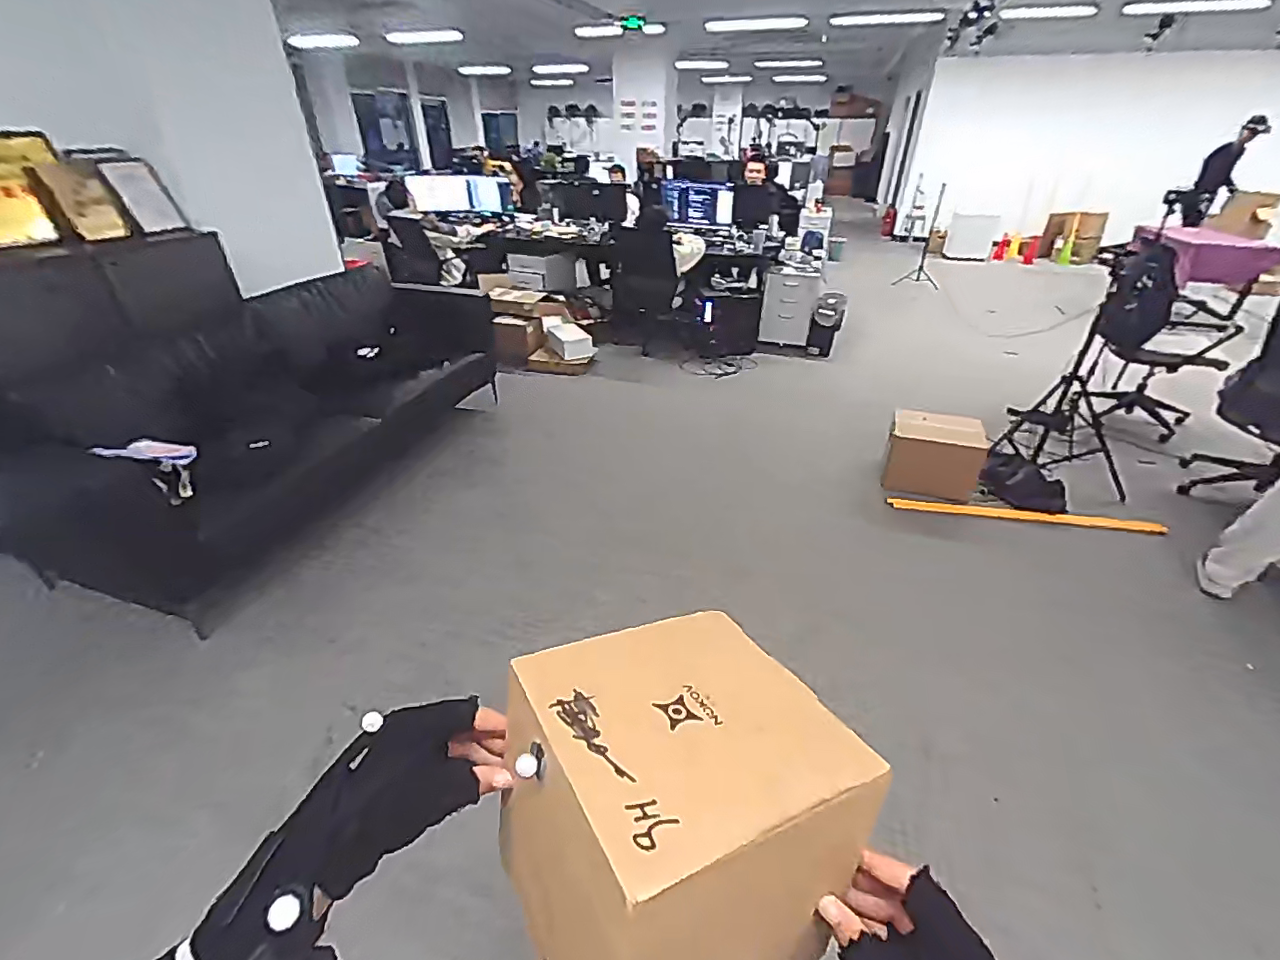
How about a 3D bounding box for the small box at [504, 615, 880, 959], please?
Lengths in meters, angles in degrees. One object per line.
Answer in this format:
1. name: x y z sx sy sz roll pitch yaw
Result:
1. small box: 0.019 0.219 0.365 0.179 0.176 0.168 -3 21 -31
